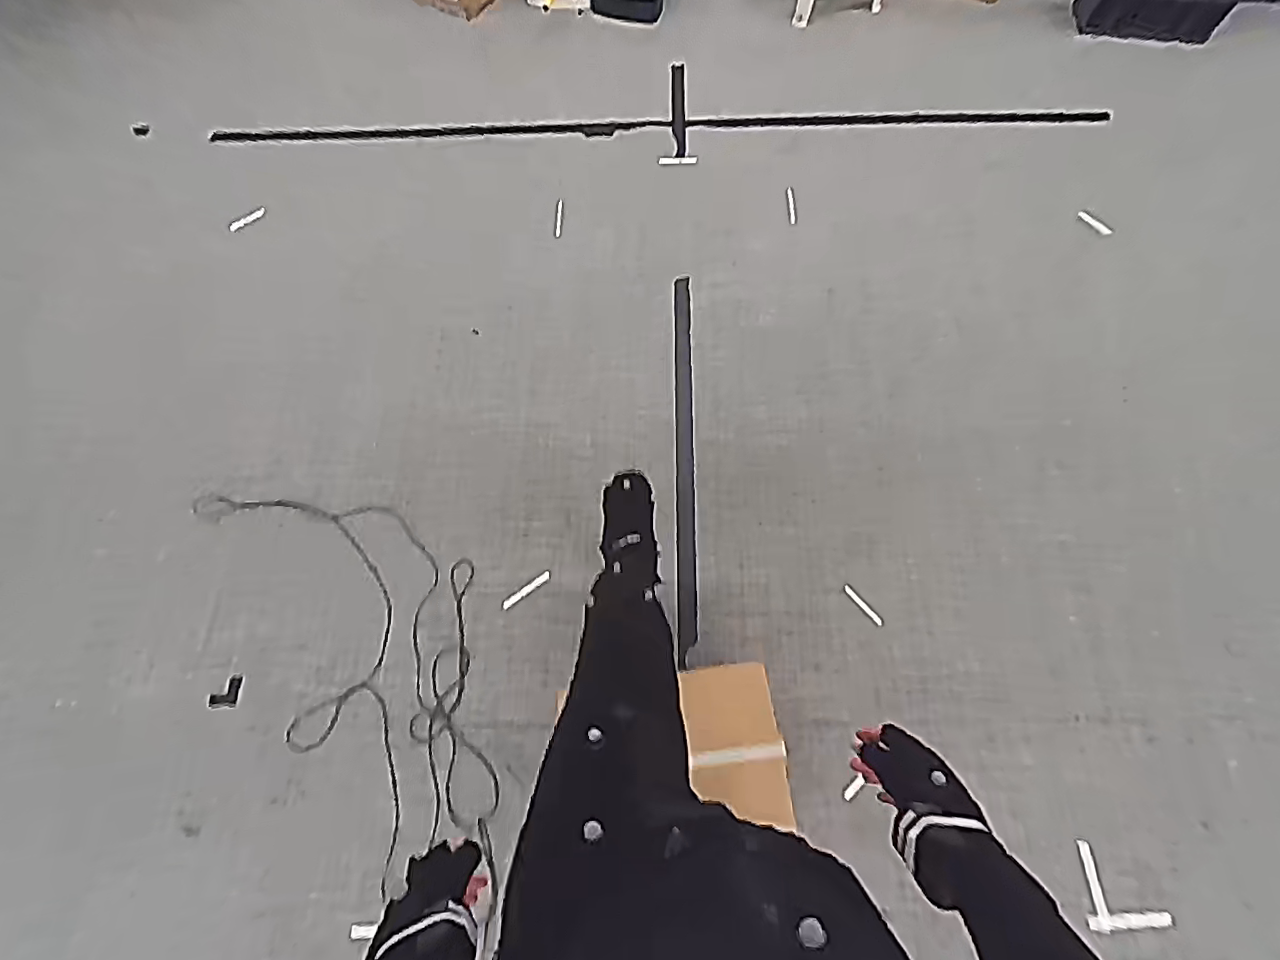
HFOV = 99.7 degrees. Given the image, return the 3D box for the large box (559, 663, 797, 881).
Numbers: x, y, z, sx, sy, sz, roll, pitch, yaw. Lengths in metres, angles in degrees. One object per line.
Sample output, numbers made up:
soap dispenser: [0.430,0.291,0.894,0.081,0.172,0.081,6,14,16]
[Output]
large box: [0.066,0.577,1.131,0.408,0.320,0.320,-7,68,-1]
